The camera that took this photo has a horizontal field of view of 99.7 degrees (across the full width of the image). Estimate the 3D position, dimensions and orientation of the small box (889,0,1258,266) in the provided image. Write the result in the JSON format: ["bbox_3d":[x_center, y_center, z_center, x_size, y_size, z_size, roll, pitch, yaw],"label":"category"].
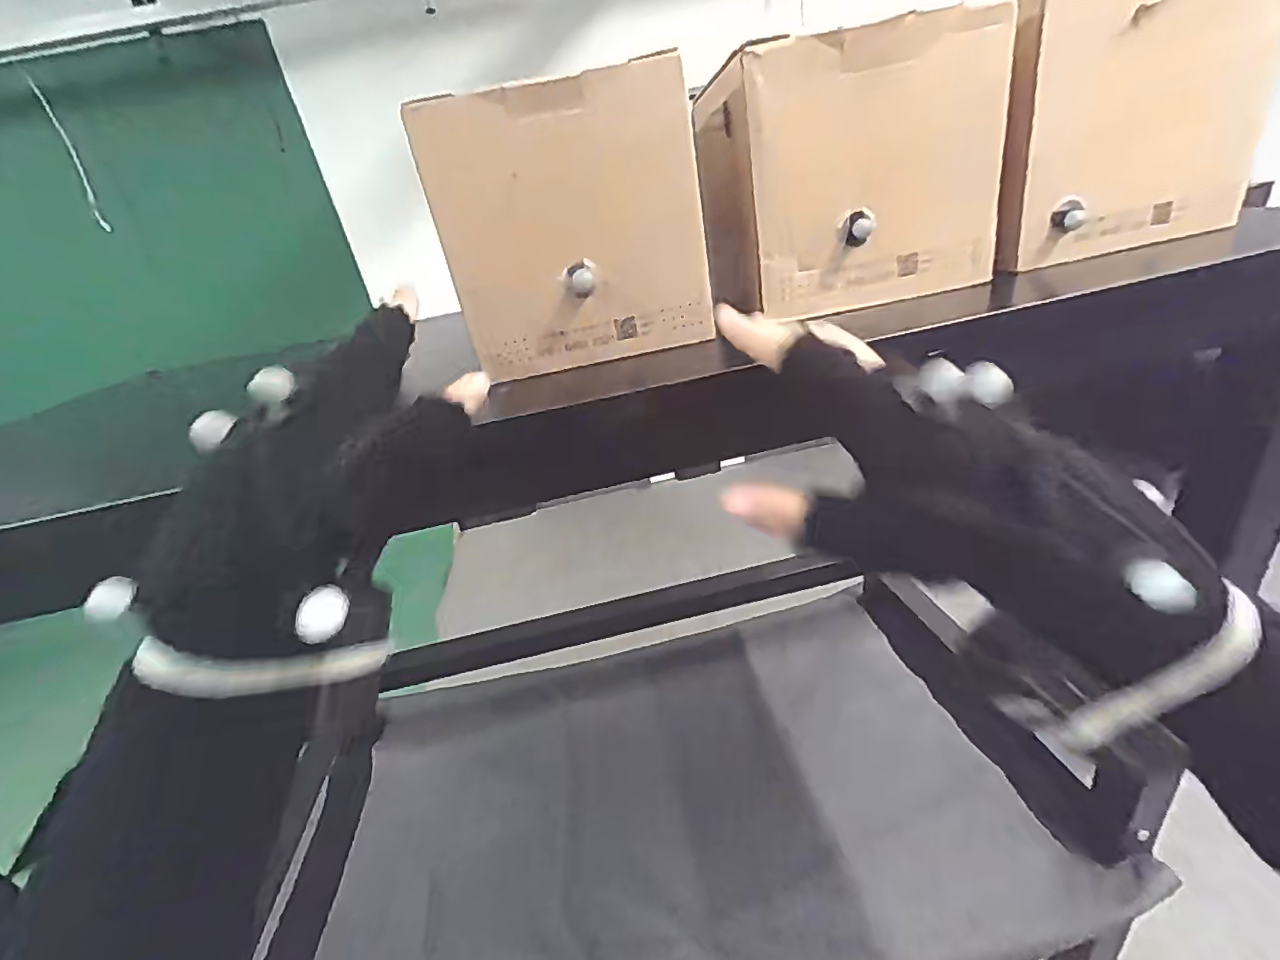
[{"bbox_3d":[0.323,-0.276,0.435,0.168,0.176,0.179,-12,24,0],"label":"small box"}]

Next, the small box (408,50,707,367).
[{"bbox_3d":[-0.051,-0.195,0.423,0.168,0.176,0.179,-12,25,-1],"label":"small box"}]
